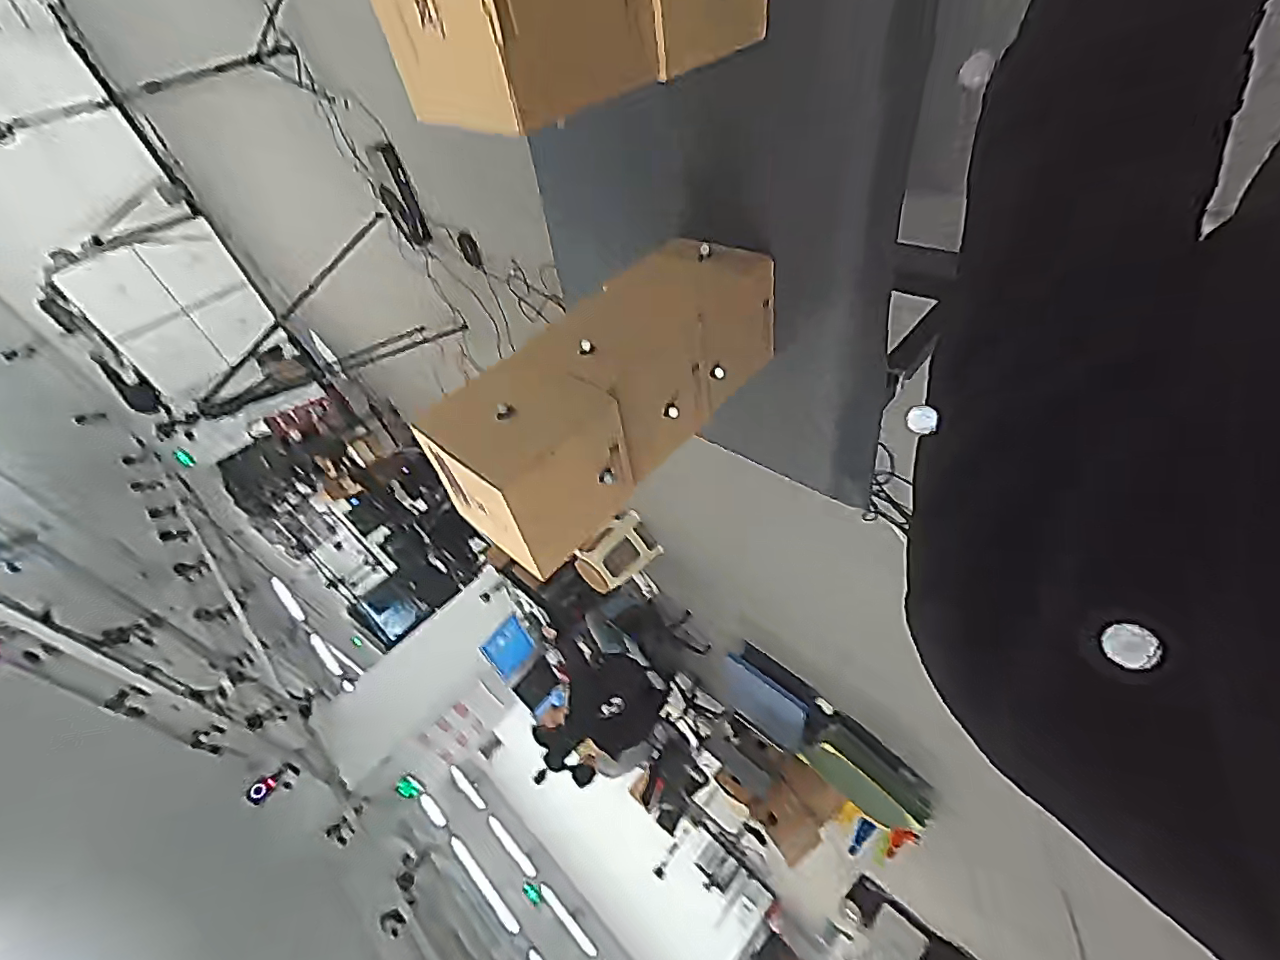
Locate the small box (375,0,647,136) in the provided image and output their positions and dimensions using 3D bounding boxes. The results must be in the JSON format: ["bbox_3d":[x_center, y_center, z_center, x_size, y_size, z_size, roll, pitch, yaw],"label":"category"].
[{"bbox_3d":[-0.108,-0.416,0.458,0.179,0.176,0.168,31,149,34],"label":"small box"}]

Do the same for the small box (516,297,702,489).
[{"bbox_3d":[-0.029,-0.125,0.728,0.179,0.176,0.168,30,148,34],"label":"small box"}]

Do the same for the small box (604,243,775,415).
[{"bbox_3d":[0.077,-0.230,0.800,0.179,0.176,0.168,29,148,35],"label":"small box"}]

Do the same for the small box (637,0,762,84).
[{"bbox_3d":[0.009,-0.509,0.523,0.179,0.176,0.168,31,150,33],"label":"small box"}]
